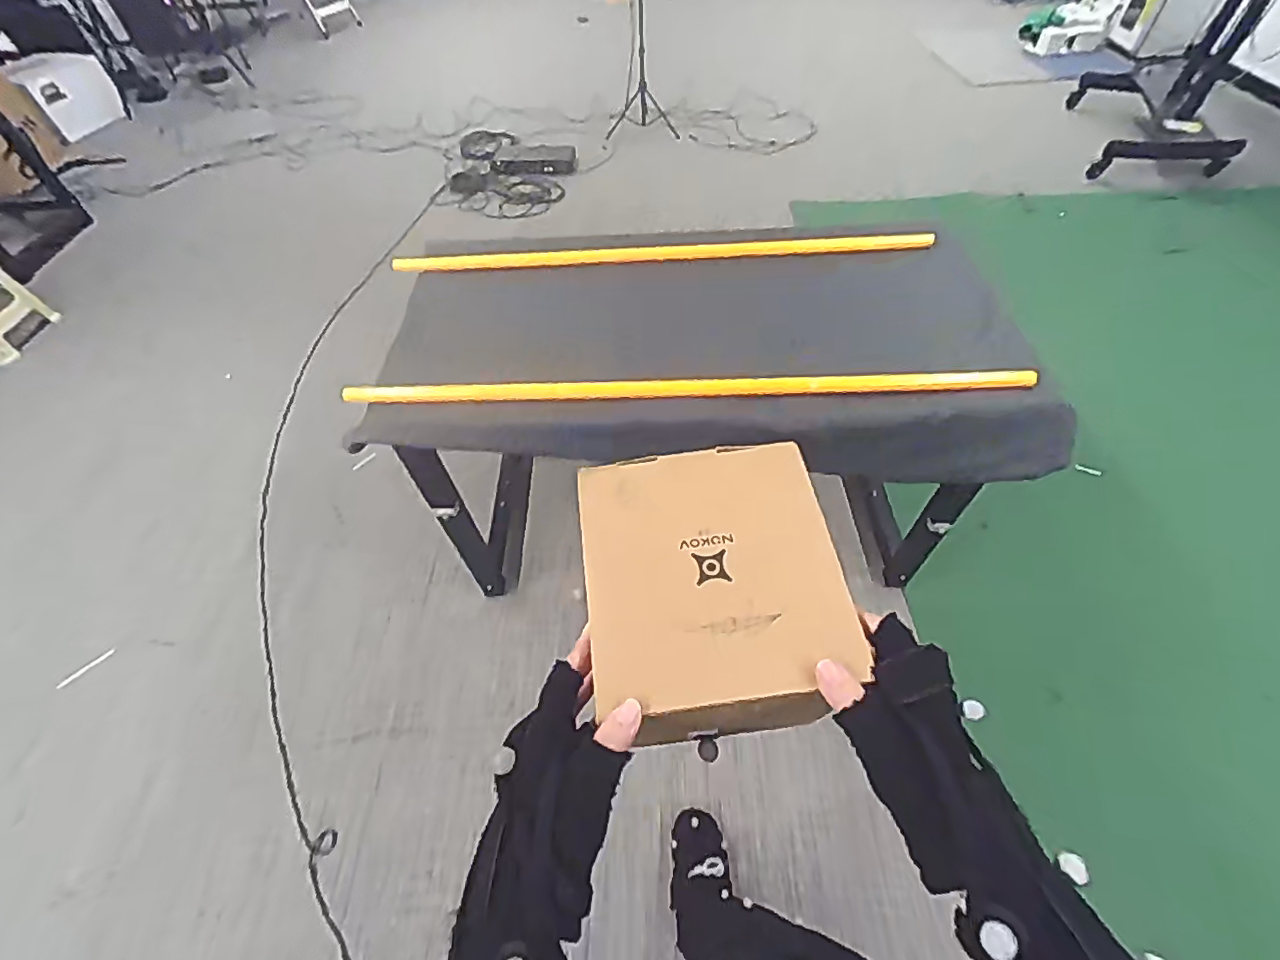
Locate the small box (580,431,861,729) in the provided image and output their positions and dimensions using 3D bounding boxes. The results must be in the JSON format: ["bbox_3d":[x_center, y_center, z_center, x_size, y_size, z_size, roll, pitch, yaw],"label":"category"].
[{"bbox_3d":[0.045,0.085,0.431,0.168,0.176,0.179,-7,59,-2],"label":"small box"}]
